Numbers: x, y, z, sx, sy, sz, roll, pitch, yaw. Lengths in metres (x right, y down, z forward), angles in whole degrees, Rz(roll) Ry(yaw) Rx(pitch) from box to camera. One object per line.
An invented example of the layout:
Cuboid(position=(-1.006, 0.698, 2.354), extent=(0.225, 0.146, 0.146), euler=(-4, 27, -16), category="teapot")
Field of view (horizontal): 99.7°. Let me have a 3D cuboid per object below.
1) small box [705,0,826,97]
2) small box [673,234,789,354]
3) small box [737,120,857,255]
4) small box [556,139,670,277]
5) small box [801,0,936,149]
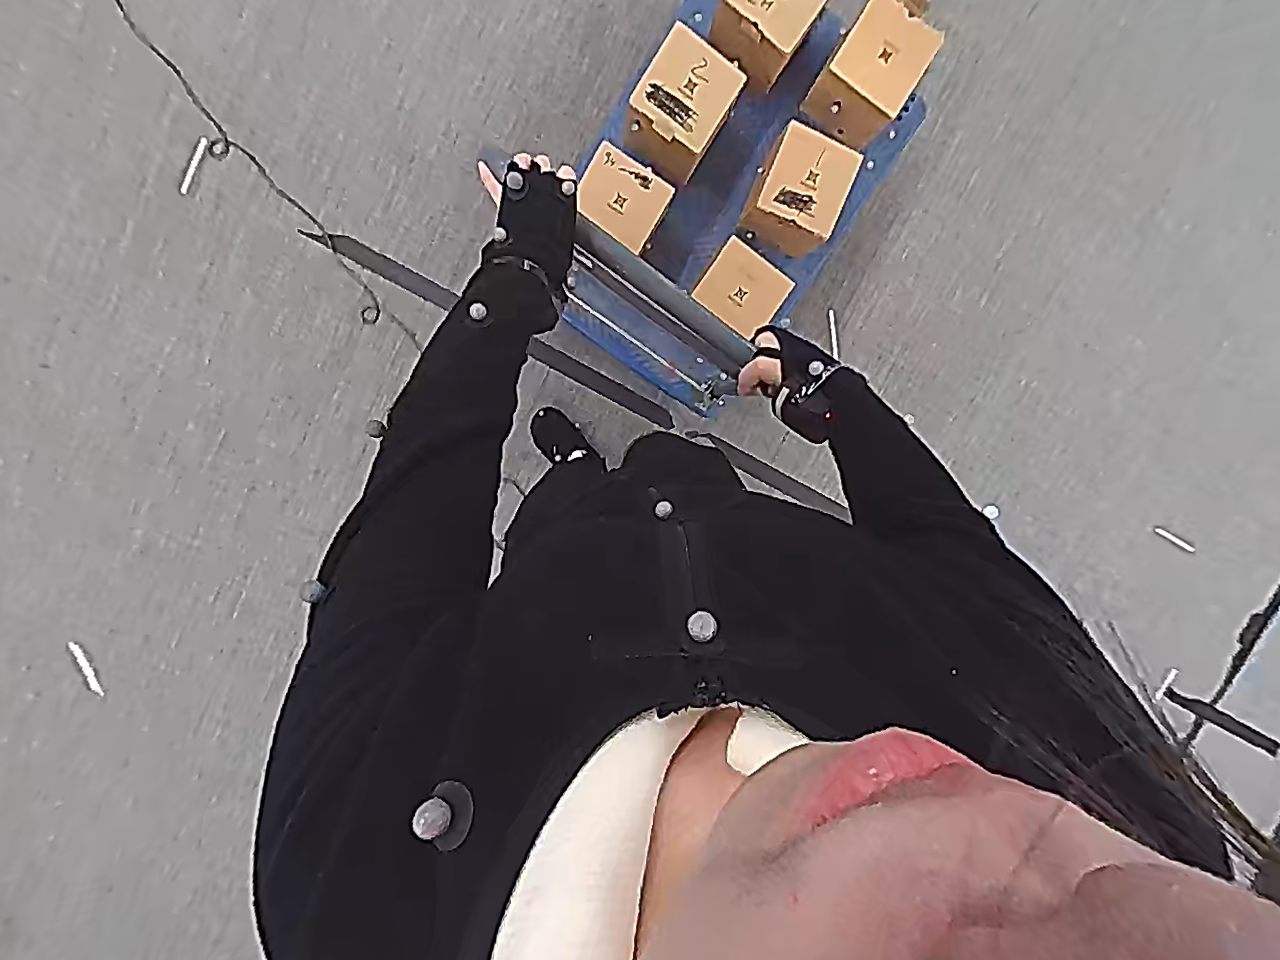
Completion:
Cuboid(position=(0.253, -0.941, 1.095), extent=(0.168, 0.176, 0.179), euler=(36, 95, -10), category="small box")
Cuboid(position=(0.188, -0.393, 1.183), extent=(0.168, 0.176, 0.179), euler=(34, 94, -11), category="small box")
Cuboid(position=(0.323, -0.611, 1.158), extent=(0.168, 0.176, 0.179), euler=(22, 96, -9), category="small box")
Cuboid(position=(-0.058, -0.553, 1.130), extent=(0.168, 0.176, 0.179), euler=(30, 96, -11), category="small box")
Cuboid(position=(0.464, -0.843, 1.133), extent=(0.168, 0.176, 0.179), euler=(31, 95, -9), category="small box")
